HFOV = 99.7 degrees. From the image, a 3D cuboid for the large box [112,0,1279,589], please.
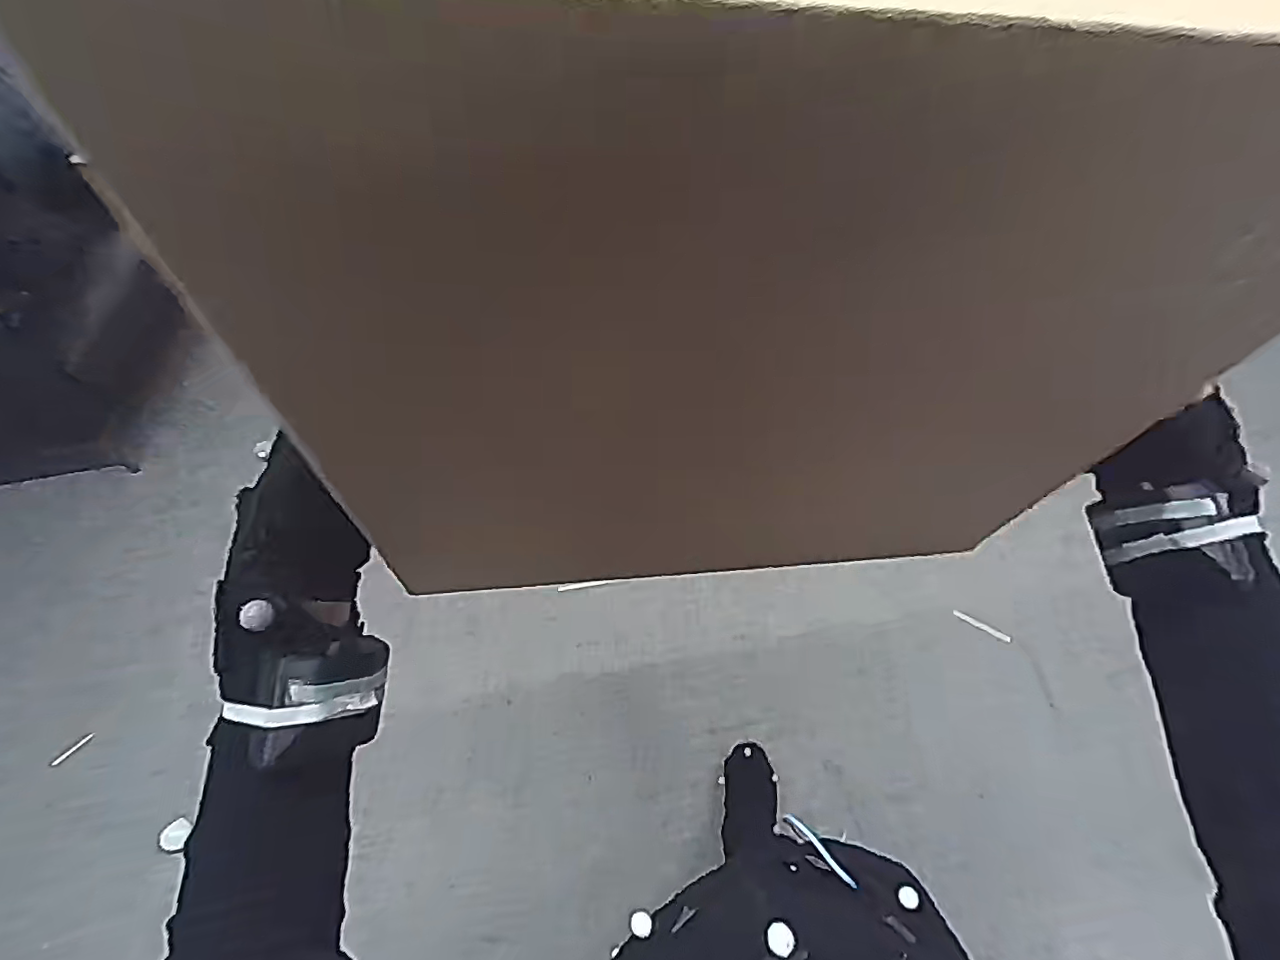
[{"bbox_3d":[0.051,-0.145,0.339,0.408,0.320,0.320,-3,58,-9],"label":"large box"}]
